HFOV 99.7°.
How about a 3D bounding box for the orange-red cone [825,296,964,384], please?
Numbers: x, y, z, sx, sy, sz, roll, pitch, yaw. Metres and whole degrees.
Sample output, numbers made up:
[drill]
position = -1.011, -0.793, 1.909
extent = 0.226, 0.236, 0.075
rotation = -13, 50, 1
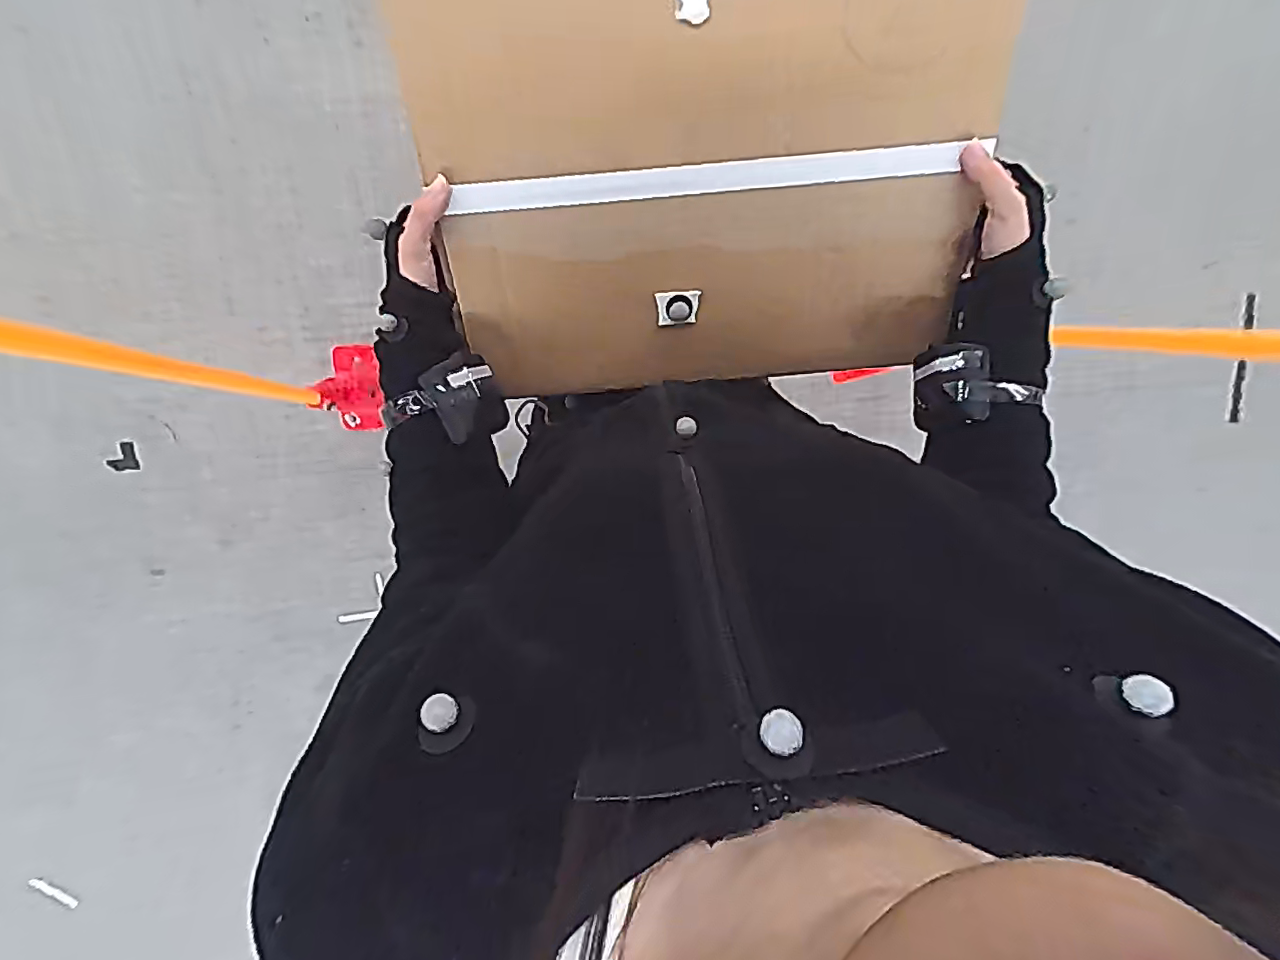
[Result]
[orange-red cone]
position = 0.599, -0.320, 1.229
extent = 0.199, 0.360, 0.198
rotation = -14, 105, -4
